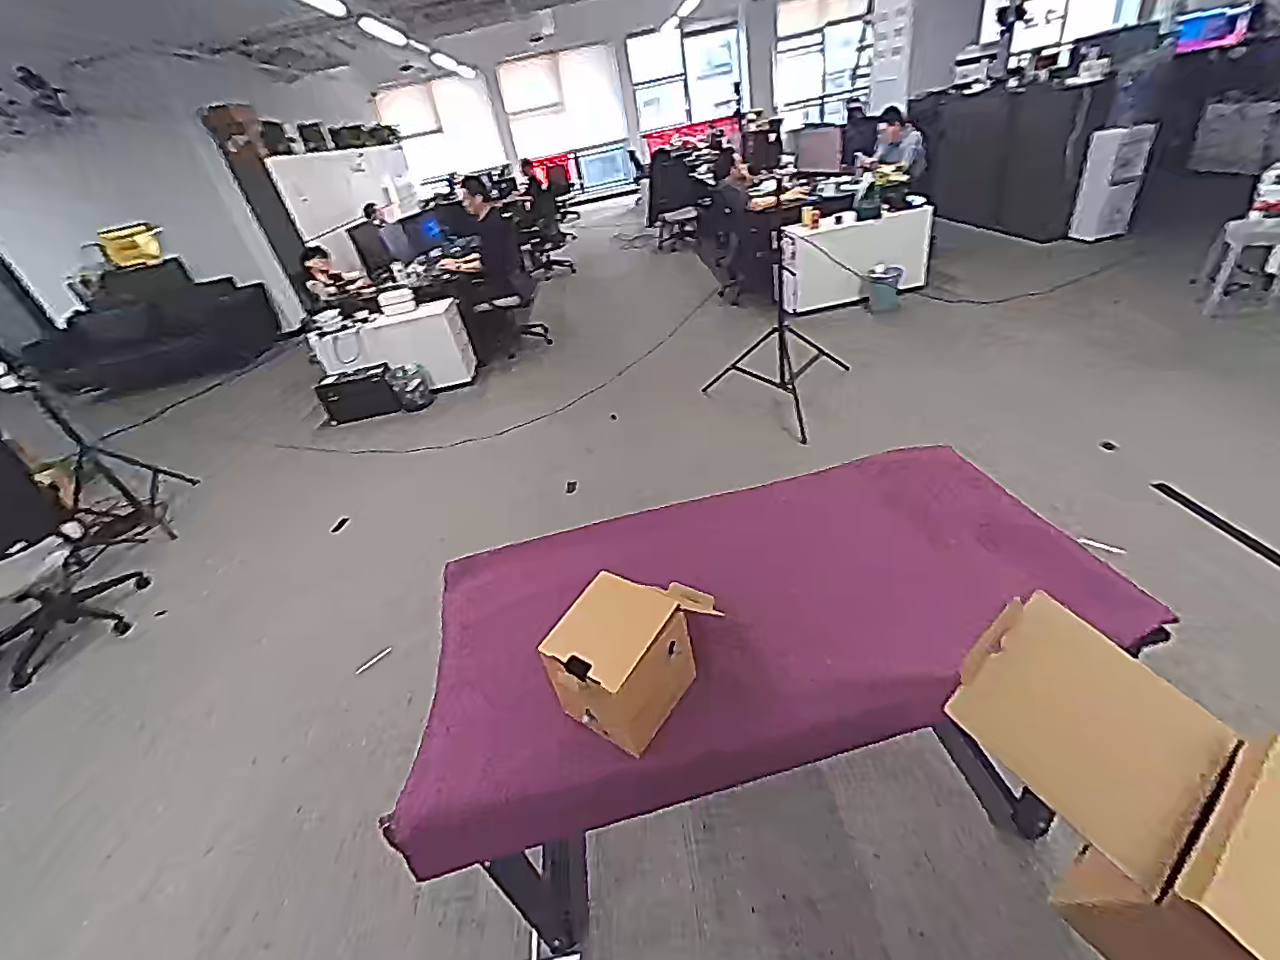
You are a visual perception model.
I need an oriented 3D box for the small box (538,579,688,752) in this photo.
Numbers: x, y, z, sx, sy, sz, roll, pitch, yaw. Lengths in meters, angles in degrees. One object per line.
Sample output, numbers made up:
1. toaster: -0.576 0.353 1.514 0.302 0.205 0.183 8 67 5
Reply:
1. small box: -0.034 0.301 0.894 0.168 0.176 0.179 14 42 36
